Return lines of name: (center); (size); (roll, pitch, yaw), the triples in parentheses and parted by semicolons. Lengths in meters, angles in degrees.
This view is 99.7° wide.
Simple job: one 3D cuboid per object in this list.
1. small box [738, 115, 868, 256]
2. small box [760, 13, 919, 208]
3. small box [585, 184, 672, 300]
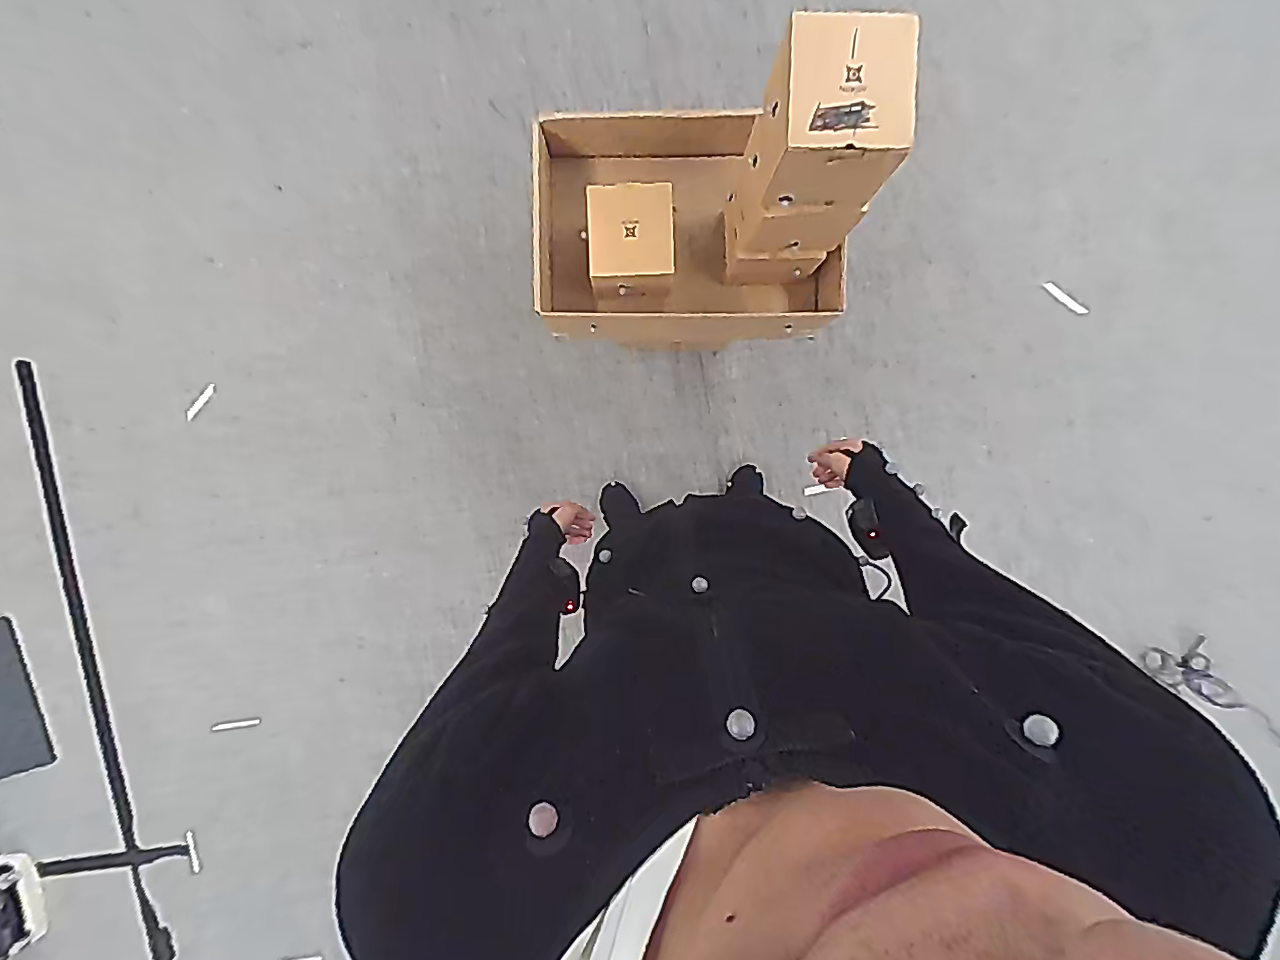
small box: (0.274, -0.503, 0.938); (0.179, 0.176, 0.168); (-2, 92, 0)
small box: (0.272, -0.511, 0.773); (0.168, 0.176, 0.179); (1, 92, 0)
small box: (-0.019, -0.477, 1.110); (0.168, 0.176, 0.179); (-2, 92, 1)
